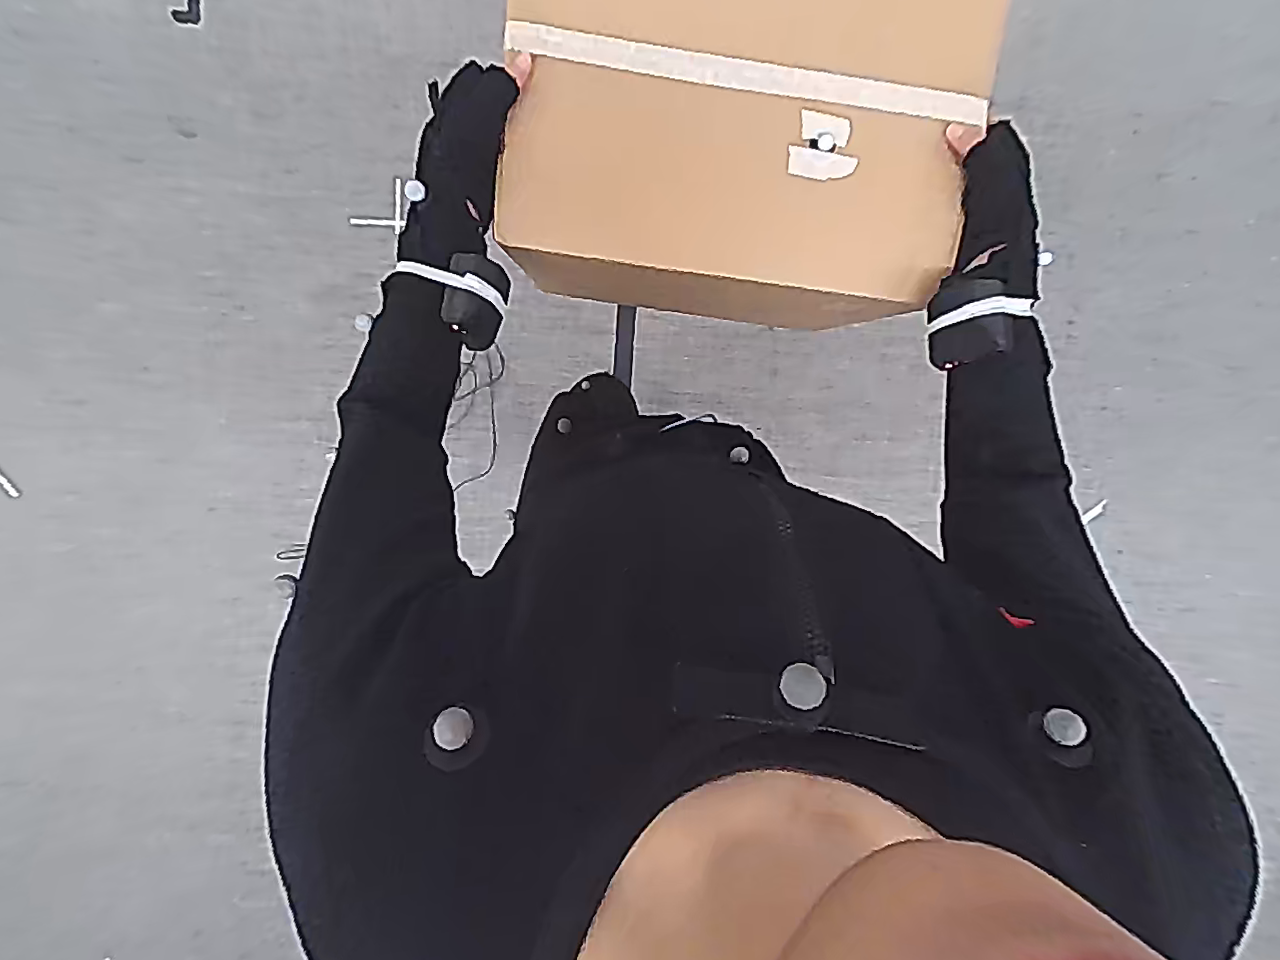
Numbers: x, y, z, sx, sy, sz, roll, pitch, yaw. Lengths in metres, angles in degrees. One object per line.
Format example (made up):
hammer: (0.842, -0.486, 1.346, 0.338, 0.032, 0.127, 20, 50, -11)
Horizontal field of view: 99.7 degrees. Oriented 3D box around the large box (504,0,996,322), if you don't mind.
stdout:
large box: (0.083, -0.368, 0.604, 0.408, 0.320, 0.320, 7, 103, -5)
